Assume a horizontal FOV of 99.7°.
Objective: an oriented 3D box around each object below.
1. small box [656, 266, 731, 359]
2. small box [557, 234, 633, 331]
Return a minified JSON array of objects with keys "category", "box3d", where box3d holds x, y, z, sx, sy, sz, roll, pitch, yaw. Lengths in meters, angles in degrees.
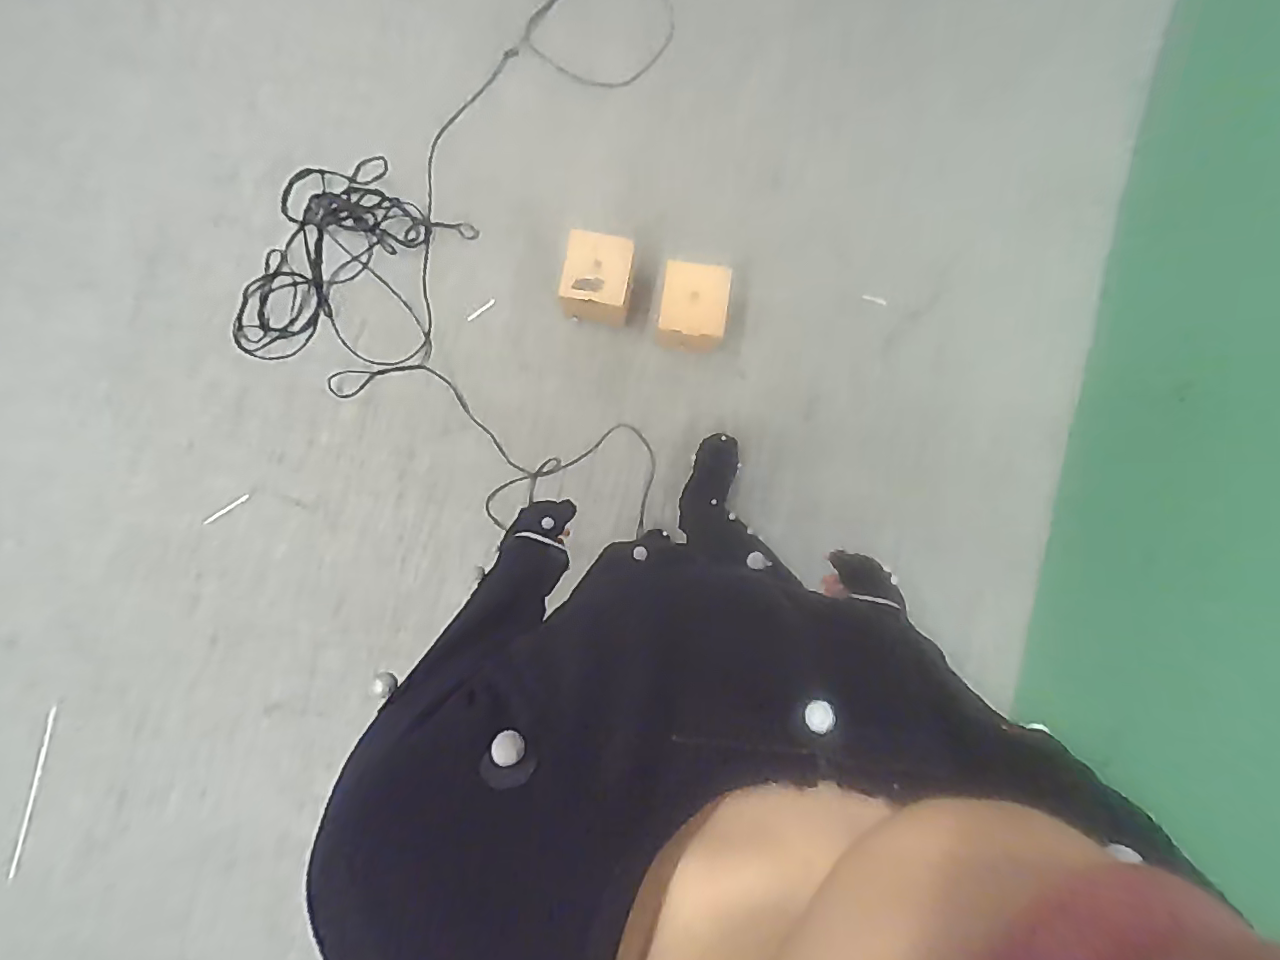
[{"category":"small box","box3d":[0.133,-0.432,1.418,0.168,0.176,0.179,8,89,0]},{"category":"small box","box3d":[-0.111,-0.509,1.418,0.168,0.176,0.179,11,87,0]}]
